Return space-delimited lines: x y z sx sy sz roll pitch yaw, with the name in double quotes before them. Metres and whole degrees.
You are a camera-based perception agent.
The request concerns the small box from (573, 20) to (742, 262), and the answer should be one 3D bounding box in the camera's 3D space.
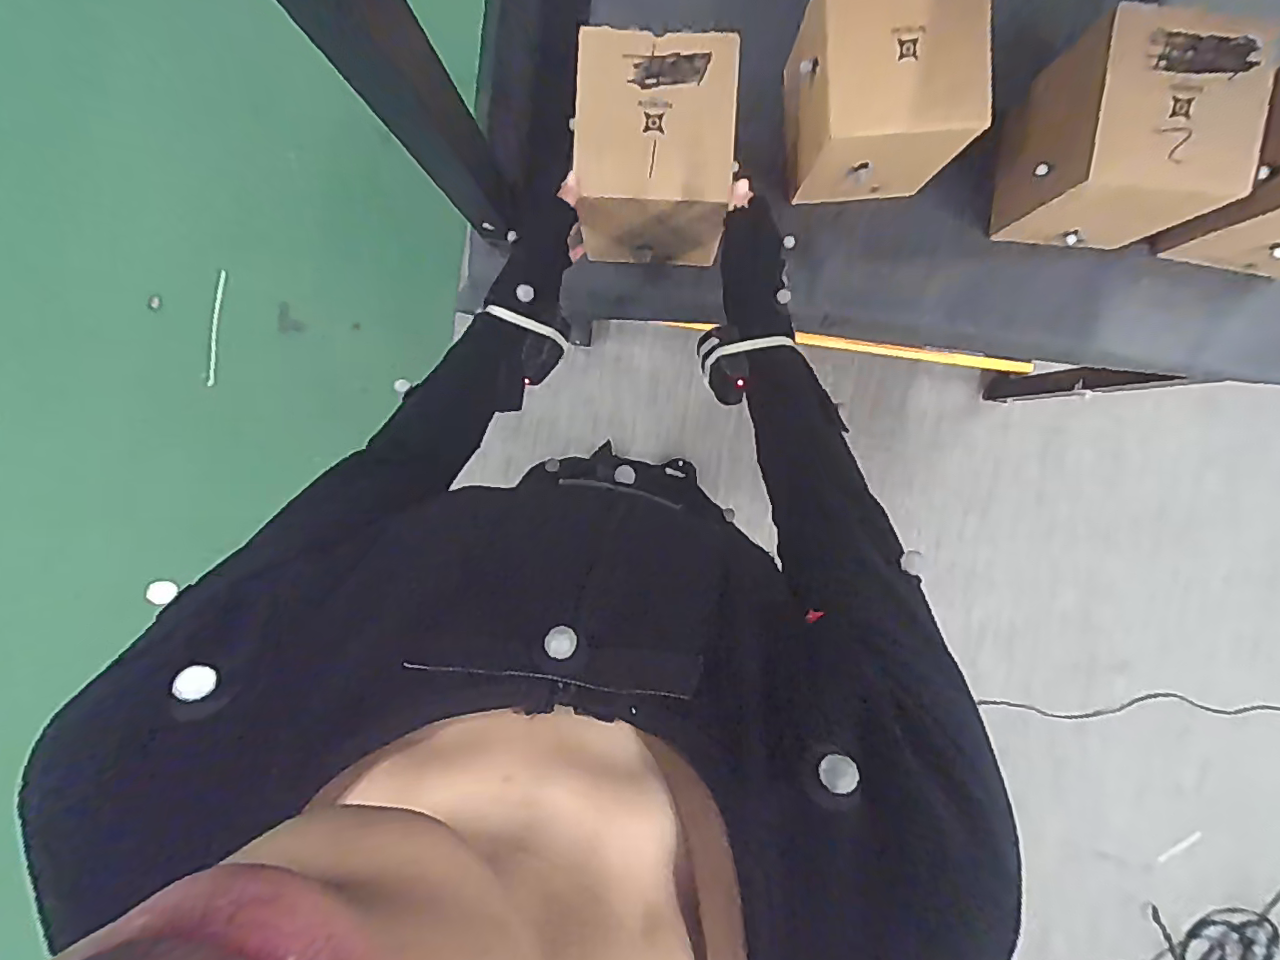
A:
"small box" 0.018 -0.377 0.629 0.168 0.176 0.179 3 91 1
